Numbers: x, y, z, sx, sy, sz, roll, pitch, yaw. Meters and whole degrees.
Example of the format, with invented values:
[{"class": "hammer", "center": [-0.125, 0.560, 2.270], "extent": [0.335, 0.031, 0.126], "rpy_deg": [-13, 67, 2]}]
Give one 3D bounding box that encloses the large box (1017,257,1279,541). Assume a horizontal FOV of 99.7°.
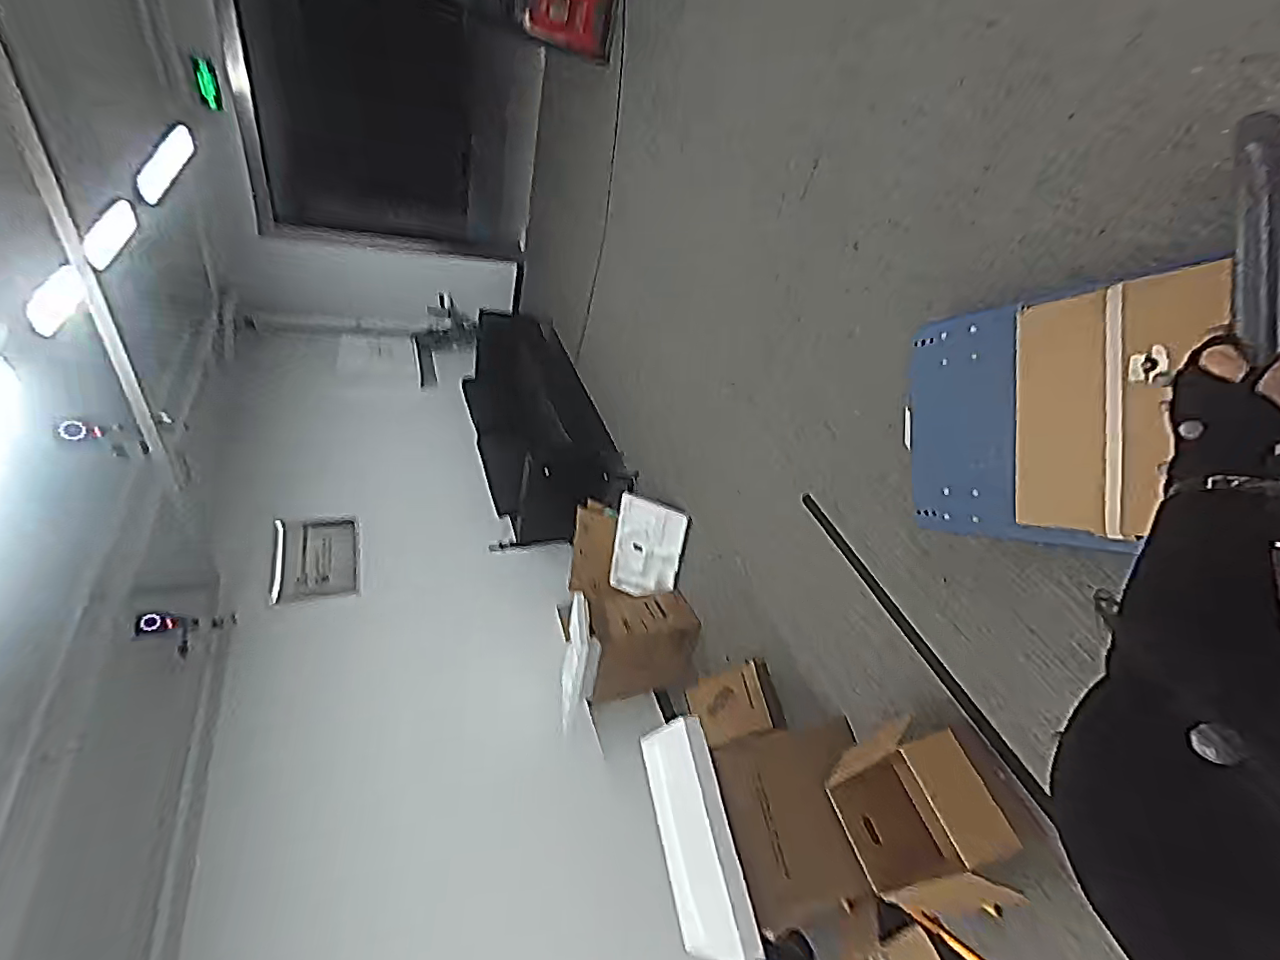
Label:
[{"class": "large box", "center": [0.913, -0.119, 0.942], "extent": [0.320, 0.320, 0.408], "rpy_deg": [-176, 84, -65]}]
